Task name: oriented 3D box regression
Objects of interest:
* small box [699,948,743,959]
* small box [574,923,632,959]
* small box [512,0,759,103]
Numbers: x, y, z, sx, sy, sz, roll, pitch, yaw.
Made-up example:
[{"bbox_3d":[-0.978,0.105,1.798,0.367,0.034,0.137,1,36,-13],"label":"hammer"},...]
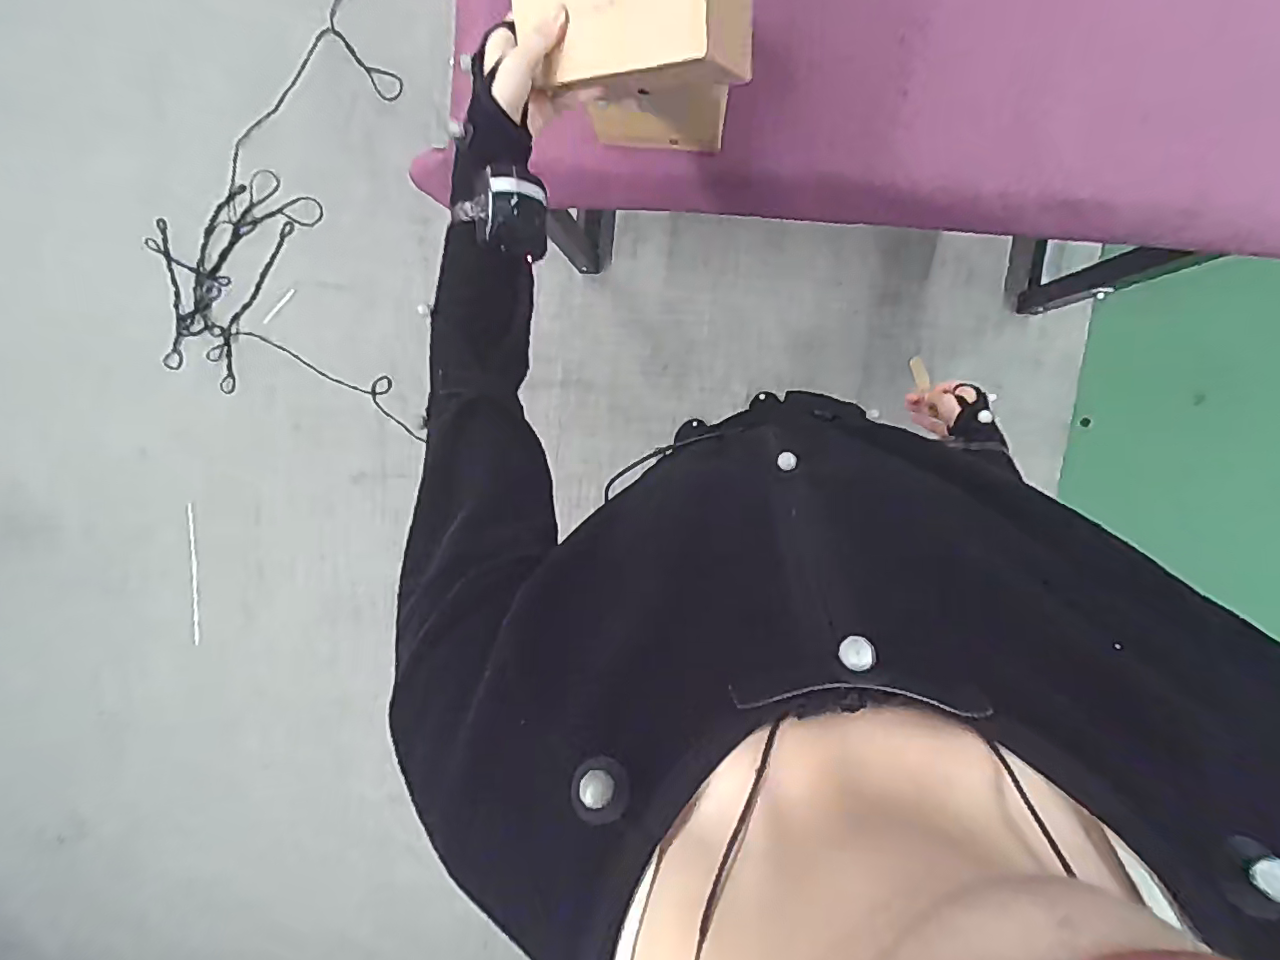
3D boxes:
[{"bbox_3d":[0.246,1.529,1.576,0.168,0.176,0.179,11,98,6],"label":"small box"},{"bbox_3d":[-0.121,1.484,1.614,0.168,0.176,0.179,10,98,6],"label":"small box"},{"bbox_3d":[0.002,-0.437,0.457,0.168,0.176,0.179,9,124,24],"label":"small box"}]
